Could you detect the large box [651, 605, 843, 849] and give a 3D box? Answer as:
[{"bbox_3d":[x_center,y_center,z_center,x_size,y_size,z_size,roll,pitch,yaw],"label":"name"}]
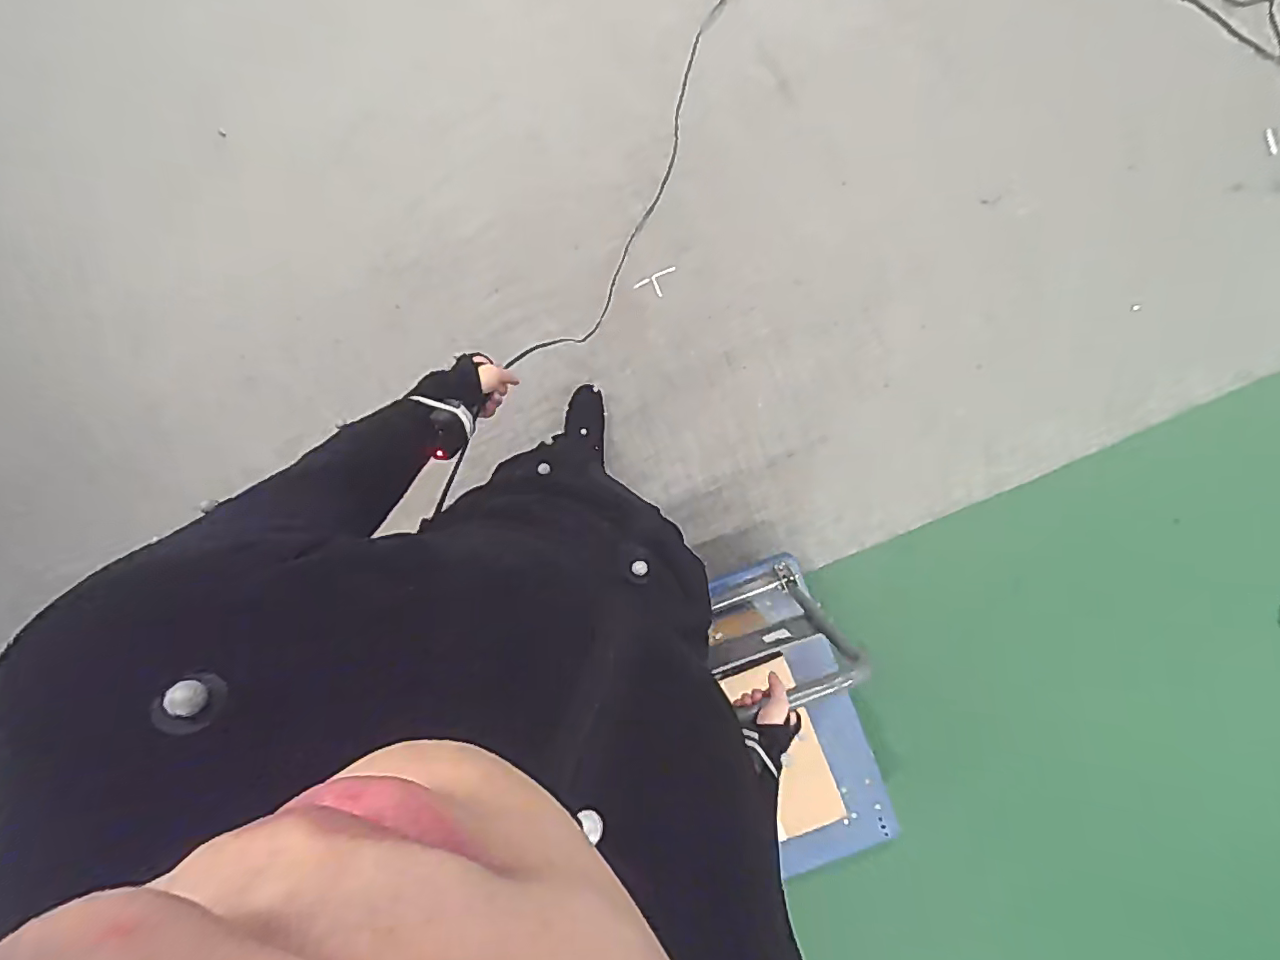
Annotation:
[{"bbox_3d":[0.243,0.590,1.356,0.320,0.320,0.408,-22,95,4],"label":"large box"}]
